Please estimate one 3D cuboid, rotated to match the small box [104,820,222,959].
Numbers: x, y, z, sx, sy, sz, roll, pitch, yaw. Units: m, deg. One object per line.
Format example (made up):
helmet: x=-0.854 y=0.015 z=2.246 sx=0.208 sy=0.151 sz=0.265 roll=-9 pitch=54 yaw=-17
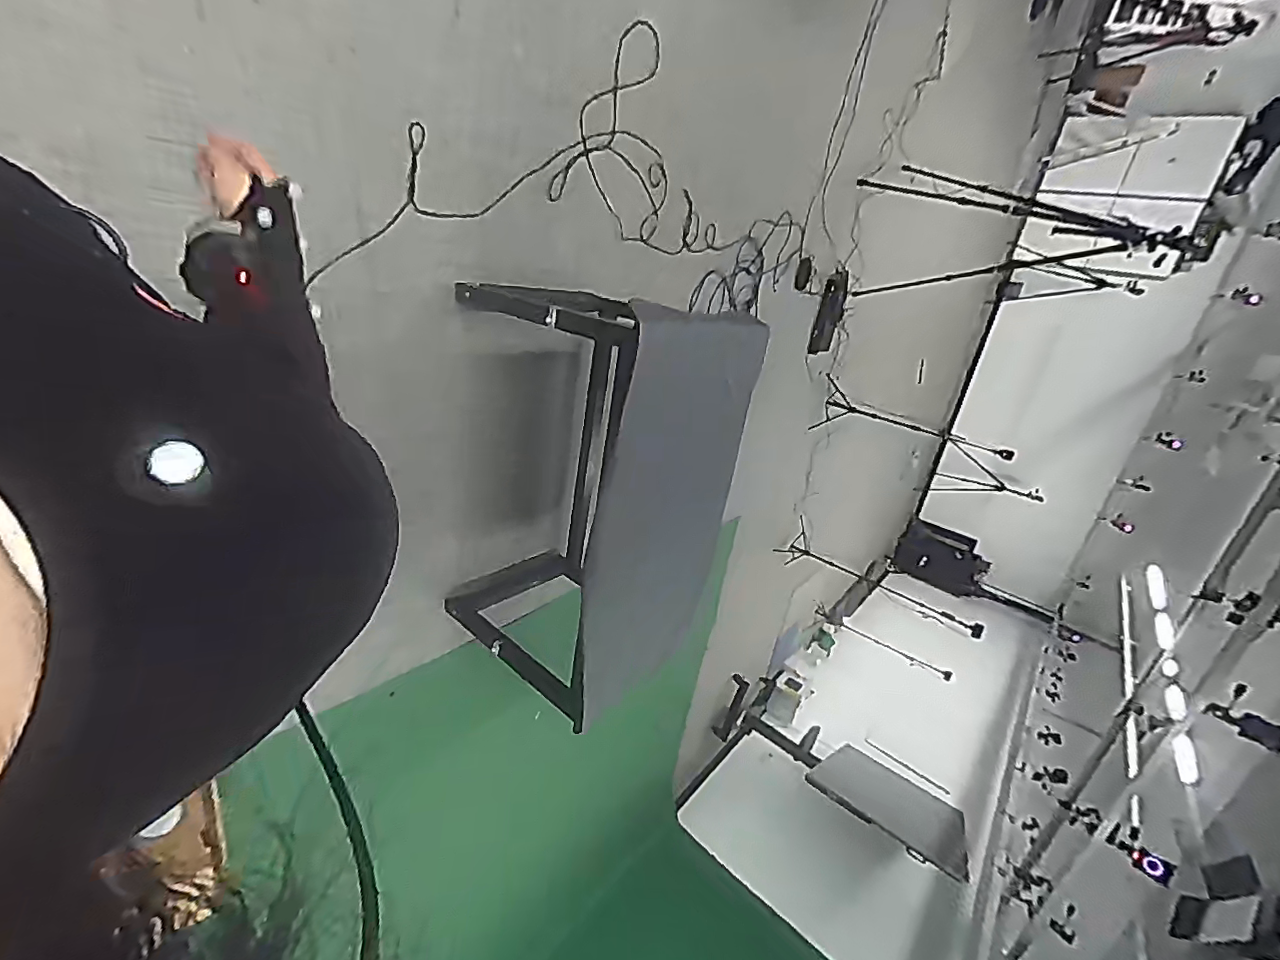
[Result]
small box: x=-1.102 y=0.945 z=1.247 sx=0.179 sy=0.176 sz=0.168 roll=-14 pitch=121 yaw=-49
